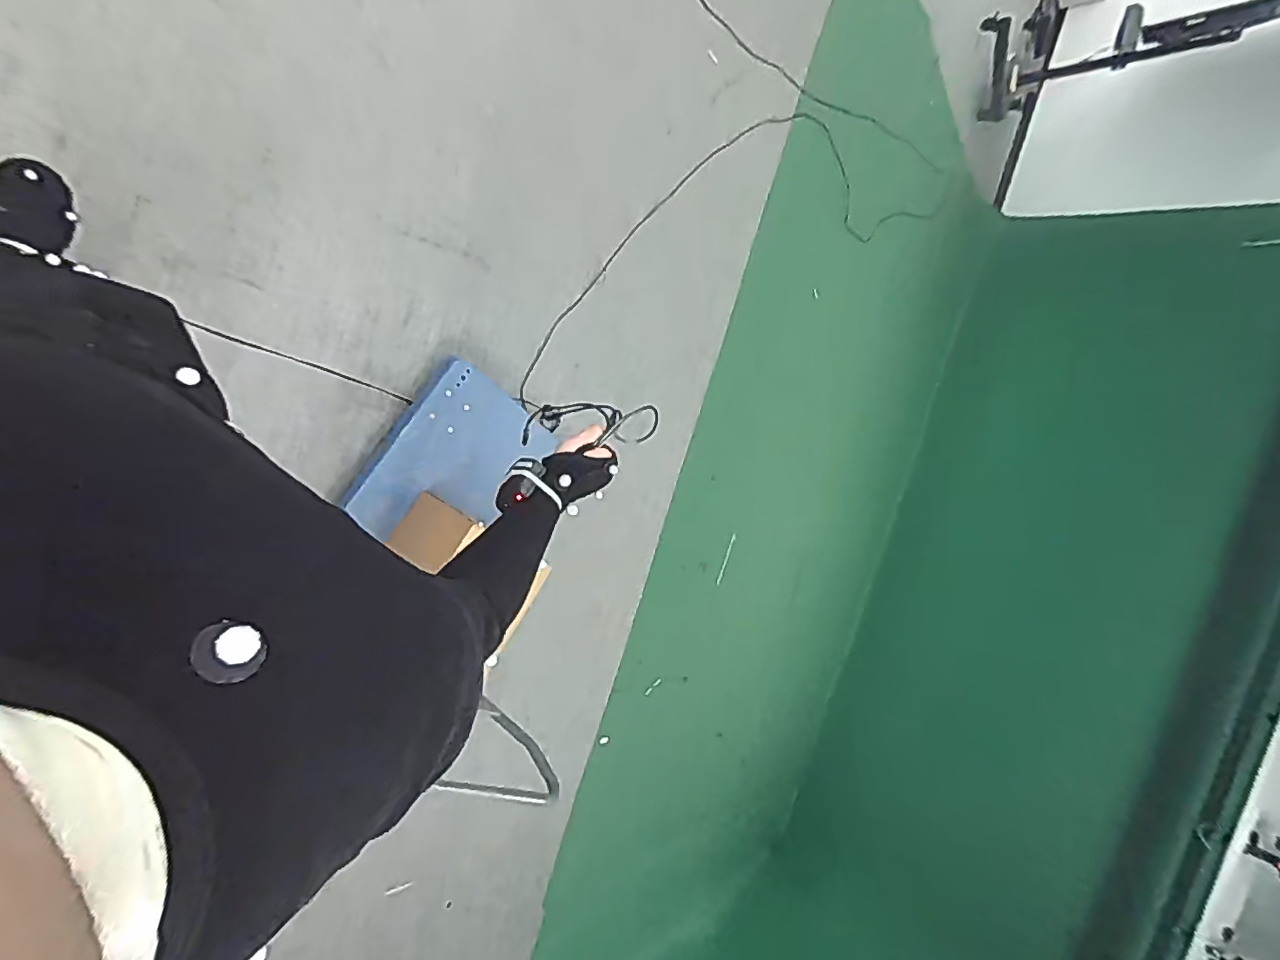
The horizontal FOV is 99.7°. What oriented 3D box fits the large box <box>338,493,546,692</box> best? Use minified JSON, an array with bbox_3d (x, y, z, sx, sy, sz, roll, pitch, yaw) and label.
[{"bbox_3d":[-0.547,0.306,1.507,0.320,0.320,0.408,44,72,-46],"label":"large box"}]
